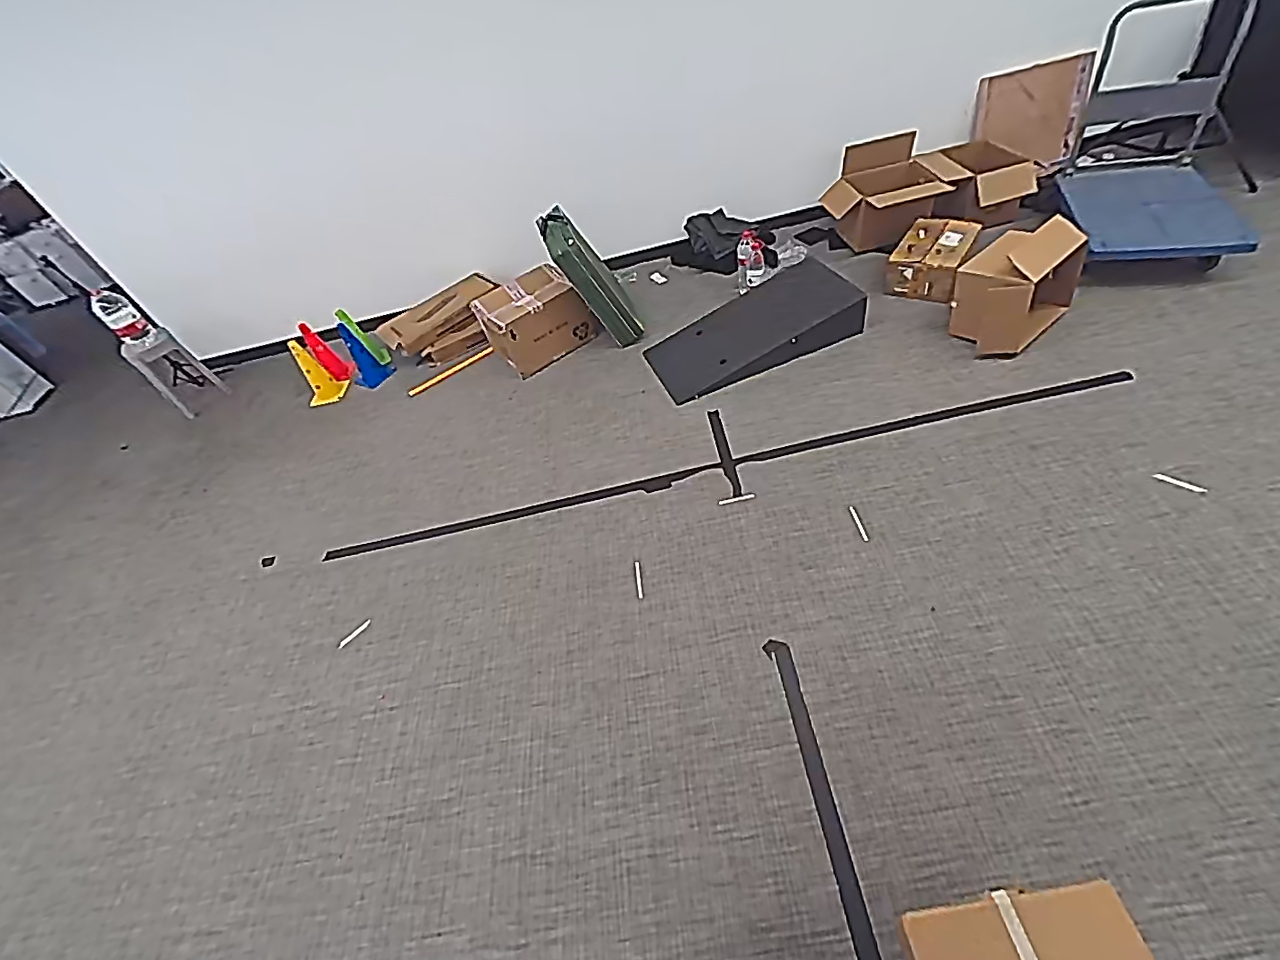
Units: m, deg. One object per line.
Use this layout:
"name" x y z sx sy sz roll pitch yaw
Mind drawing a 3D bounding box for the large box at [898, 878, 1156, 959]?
"large box" 0.635 0.883 0.815 0.320 0.320 0.408 -18 48 9
